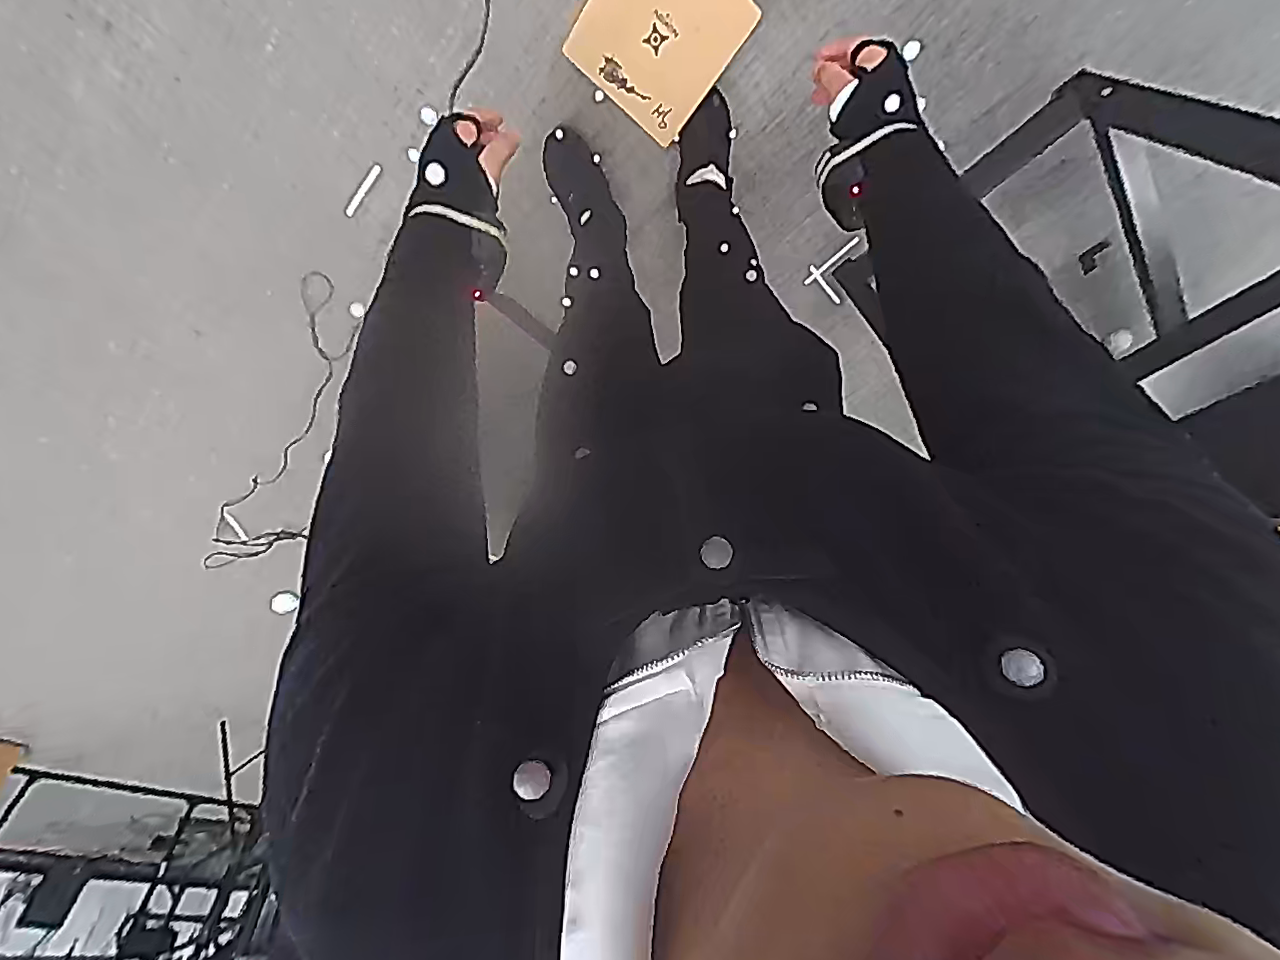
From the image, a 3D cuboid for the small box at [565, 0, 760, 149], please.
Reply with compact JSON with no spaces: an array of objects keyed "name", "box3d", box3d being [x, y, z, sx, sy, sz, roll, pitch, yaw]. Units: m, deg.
[{"name":"small box","box3d":[0.019,-0.572,0.685,0.168,0.176,0.179,29,124,-27]}]
